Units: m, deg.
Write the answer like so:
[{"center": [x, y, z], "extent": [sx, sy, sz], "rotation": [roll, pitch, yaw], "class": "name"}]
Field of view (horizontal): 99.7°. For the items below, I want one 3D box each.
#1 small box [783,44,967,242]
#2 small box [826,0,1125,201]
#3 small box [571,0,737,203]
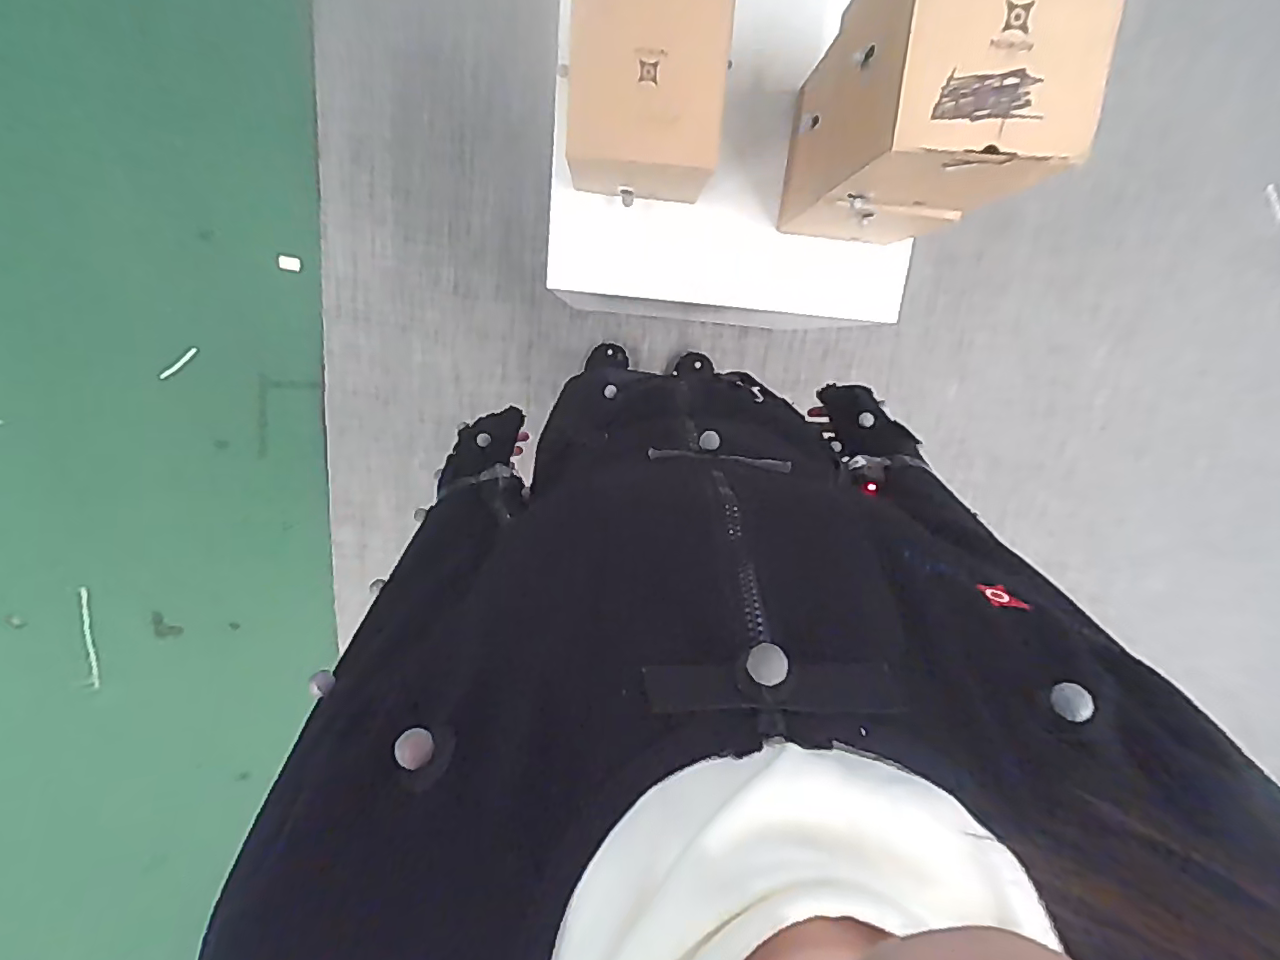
[{"center": [0.283, -0.402, 0.651], "extent": [0.168, 0.176, 0.179], "rotation": [5, 104, -2], "class": "small box"}, {"center": [0.282, -0.367, 0.490], "extent": [0.168, 0.176, 0.179], "rotation": [2, 104, -2], "class": "small box"}, {"center": [0.010, -0.444, 0.634], "extent": [0.168, 0.176, 0.179], "rotation": [3, 106, -2], "class": "small box"}]
